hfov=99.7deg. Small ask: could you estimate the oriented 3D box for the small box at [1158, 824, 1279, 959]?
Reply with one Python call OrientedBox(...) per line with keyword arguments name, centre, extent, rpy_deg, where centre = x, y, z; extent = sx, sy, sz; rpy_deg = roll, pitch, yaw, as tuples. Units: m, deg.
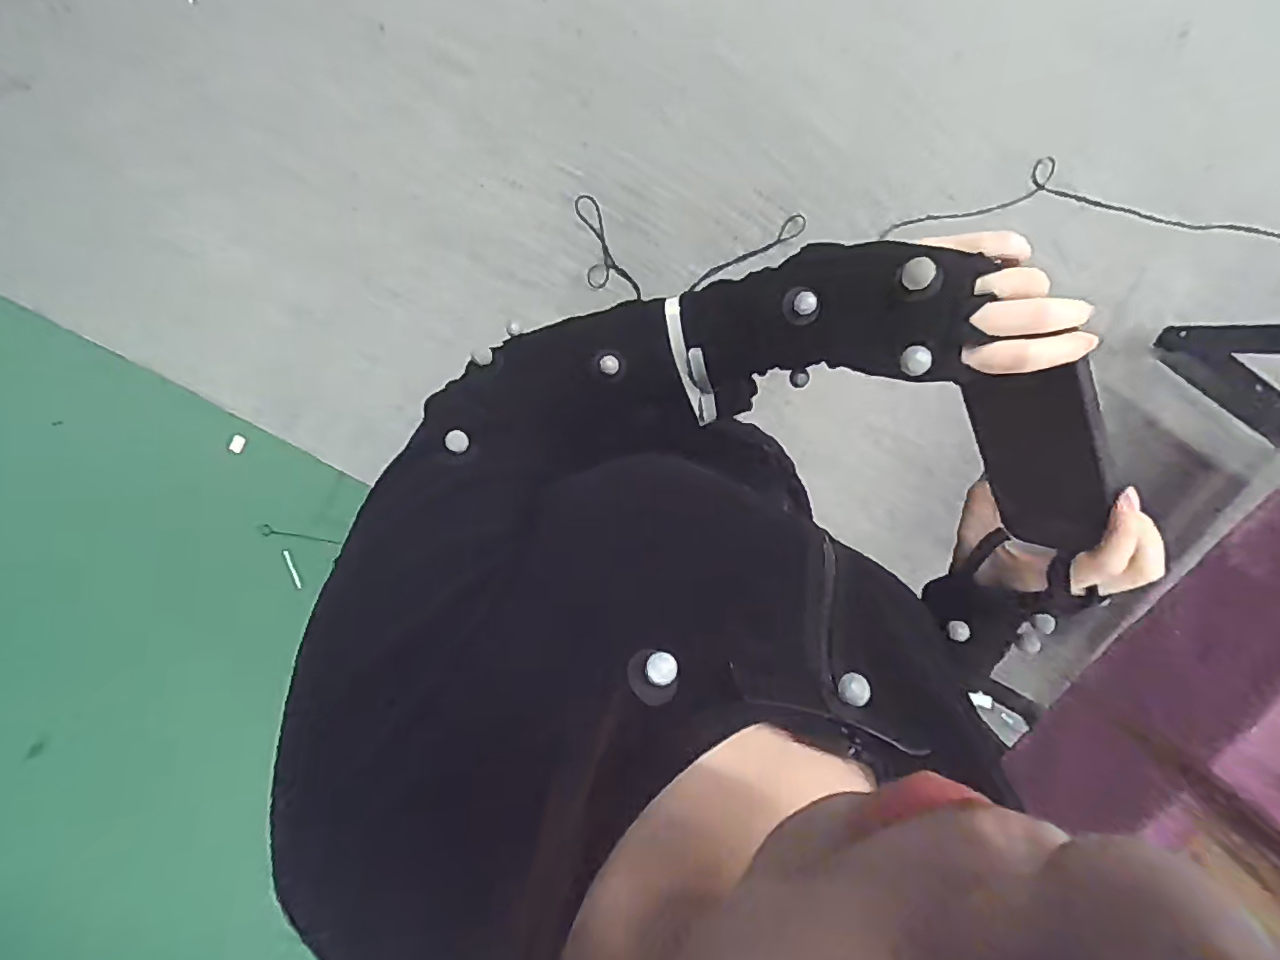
OrientedBox(name="small box", centre=(1.040, 0.732, 0.906), extent=(0.168, 0.176, 0.179), rpy_deg=(29, 103, -10))
